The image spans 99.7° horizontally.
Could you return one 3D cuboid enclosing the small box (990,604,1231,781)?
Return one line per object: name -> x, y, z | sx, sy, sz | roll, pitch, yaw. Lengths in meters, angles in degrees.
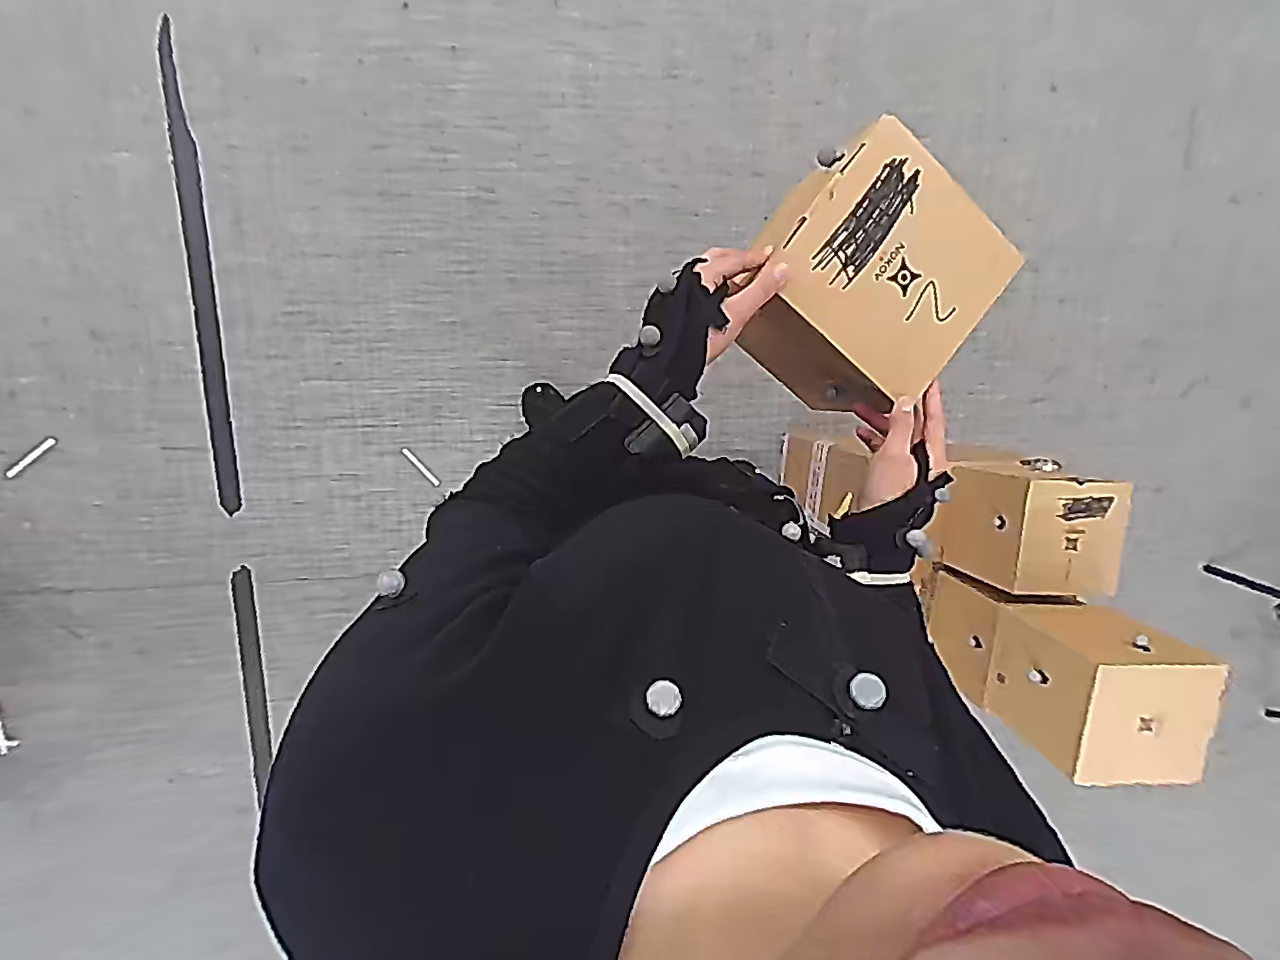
small box -> 0.623, 0.280, 0.741 | 0.179, 0.176, 0.168 | 1, 101, -5
